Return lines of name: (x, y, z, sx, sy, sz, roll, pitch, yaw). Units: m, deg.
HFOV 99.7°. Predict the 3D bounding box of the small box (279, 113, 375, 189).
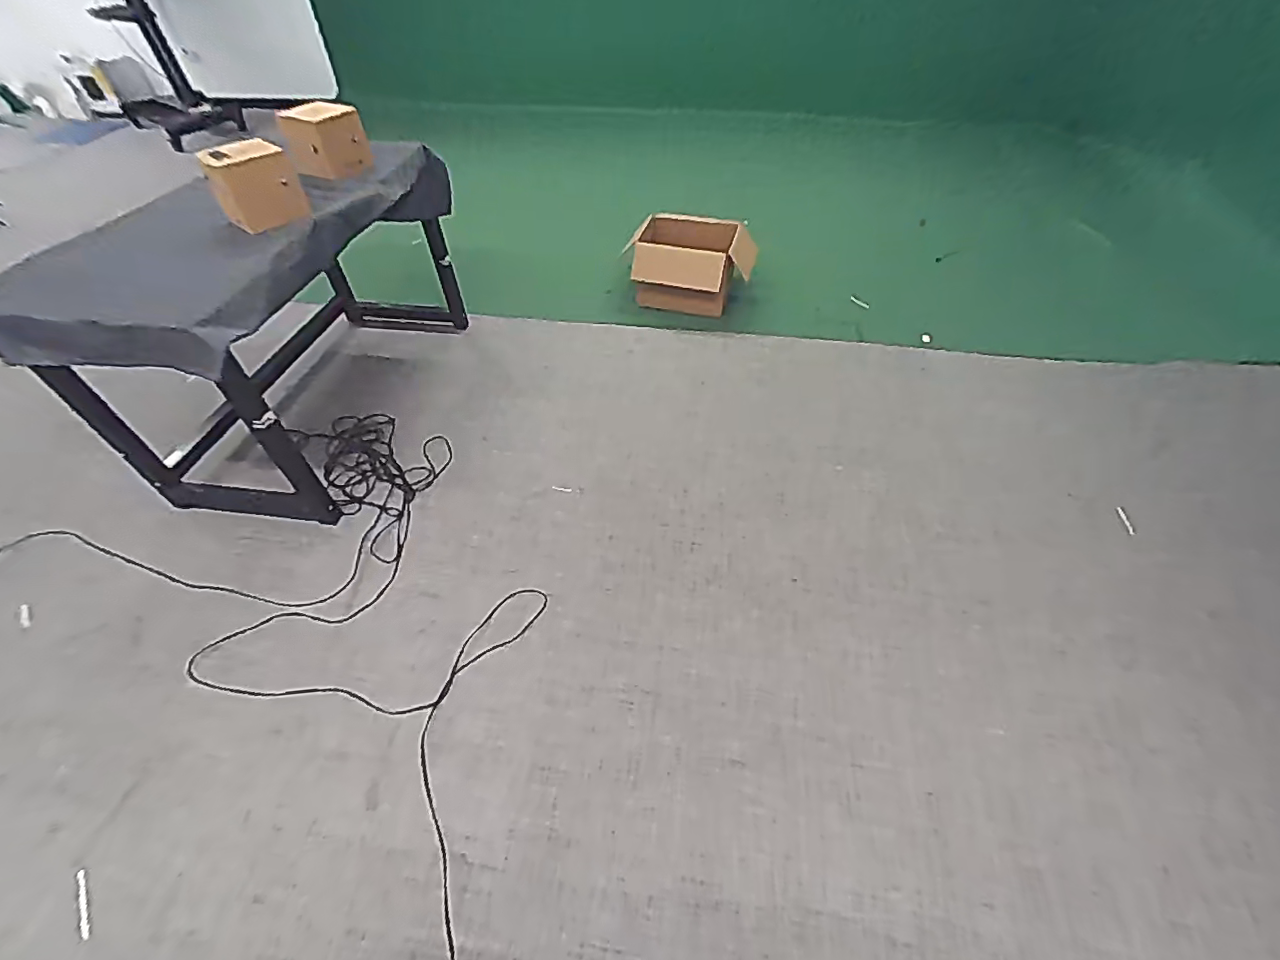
small box: (-0.998, -1.058, 1.743, 0.179, 0.176, 0.168, 19, 50, 20)
